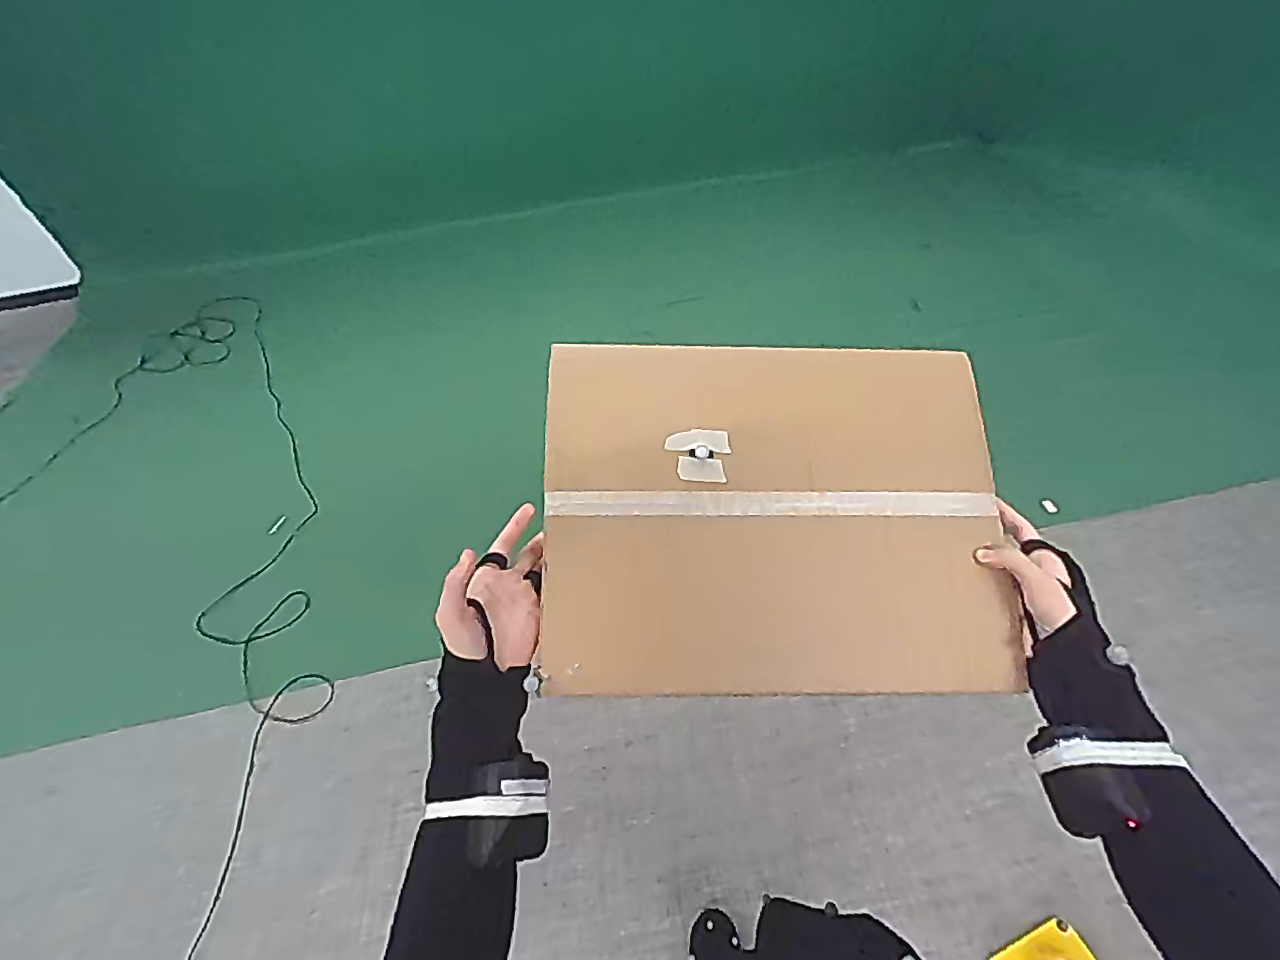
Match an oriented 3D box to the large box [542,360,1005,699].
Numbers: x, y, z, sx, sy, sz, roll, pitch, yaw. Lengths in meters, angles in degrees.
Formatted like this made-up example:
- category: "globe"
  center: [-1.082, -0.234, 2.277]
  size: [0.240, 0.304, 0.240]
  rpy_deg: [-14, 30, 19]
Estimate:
- category: "large box"
  center: [0.112, 0.070, 0.639]
  size: [0.408, 0.320, 0.320]
  rpy_deg: [0, 74, -1]
